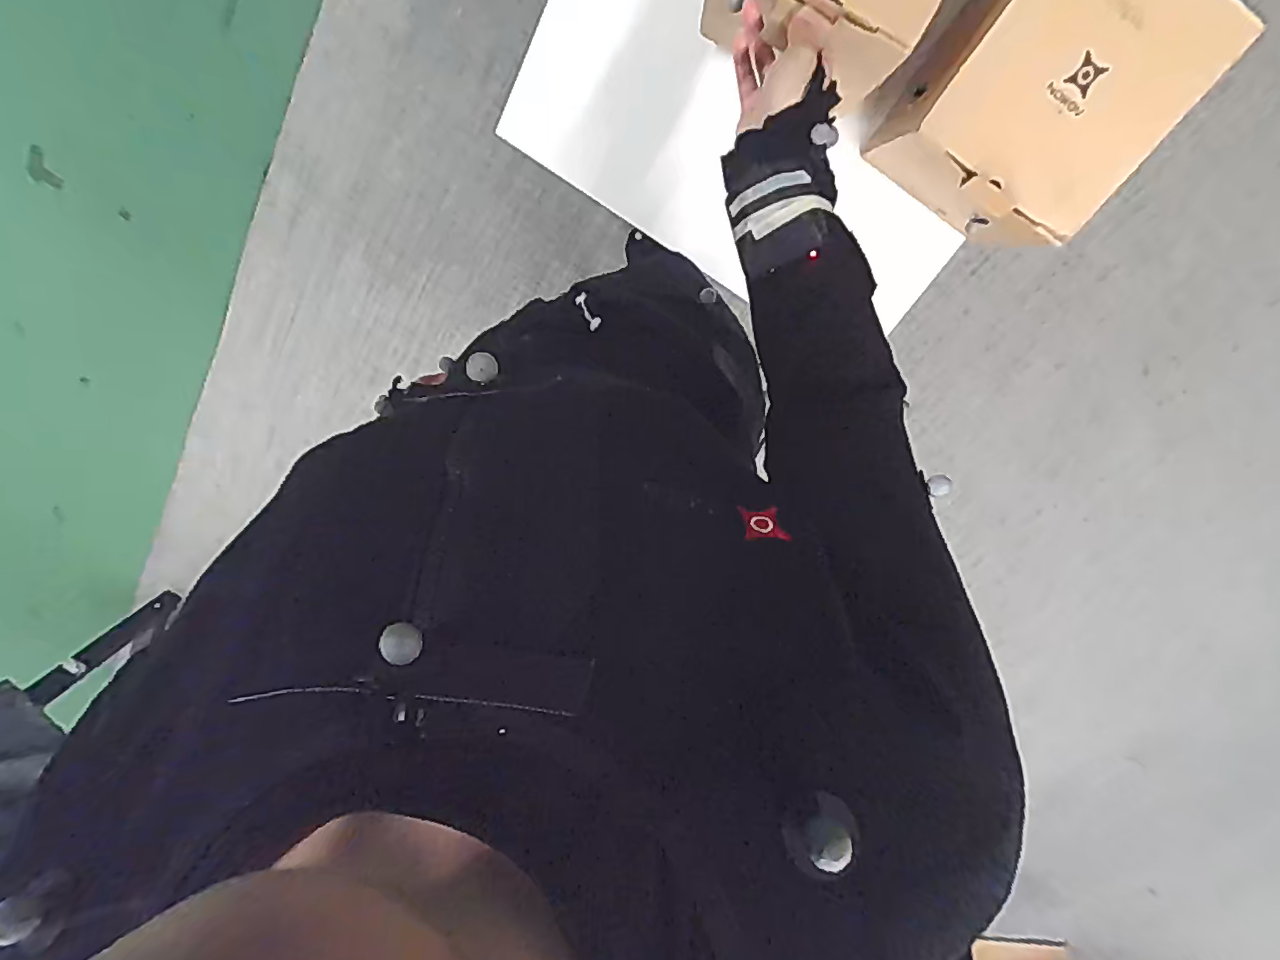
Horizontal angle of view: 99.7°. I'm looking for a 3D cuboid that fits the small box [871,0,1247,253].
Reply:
[{"bbox_3d":[0.337,-0.330,0.486,0.168,0.176,0.179,30,113,-10],"label":"small box"}]
